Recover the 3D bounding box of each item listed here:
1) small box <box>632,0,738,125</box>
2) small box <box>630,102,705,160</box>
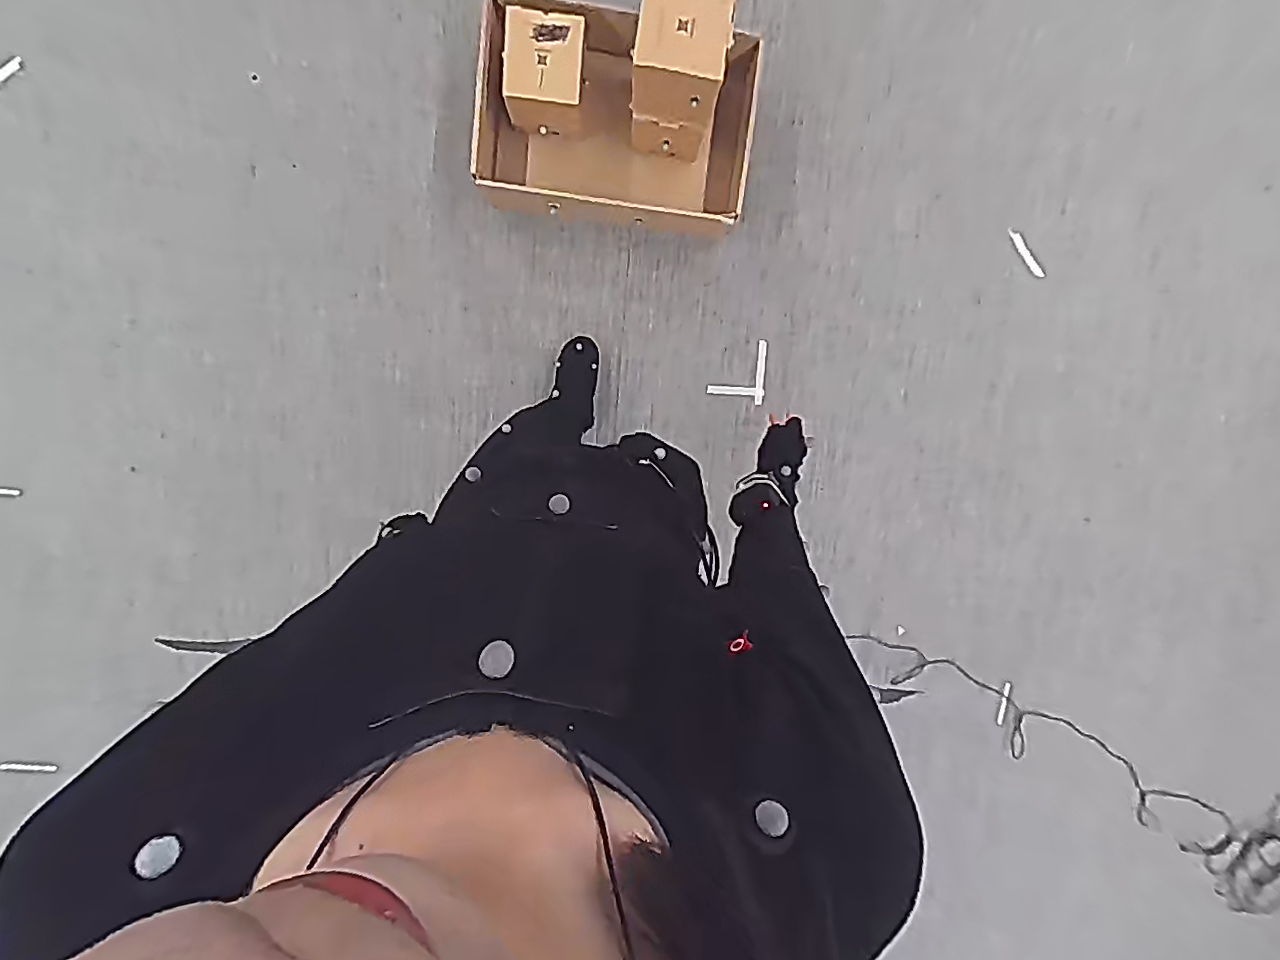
[{"bbox_3d":[0.083,-0.851,1.087,0.179,0.176,0.168,9,97,-2],"label":"small box"},{"bbox_3d":[0.073,-0.872,1.250,0.168,0.176,0.179,8,100,-1],"label":"small box"}]
